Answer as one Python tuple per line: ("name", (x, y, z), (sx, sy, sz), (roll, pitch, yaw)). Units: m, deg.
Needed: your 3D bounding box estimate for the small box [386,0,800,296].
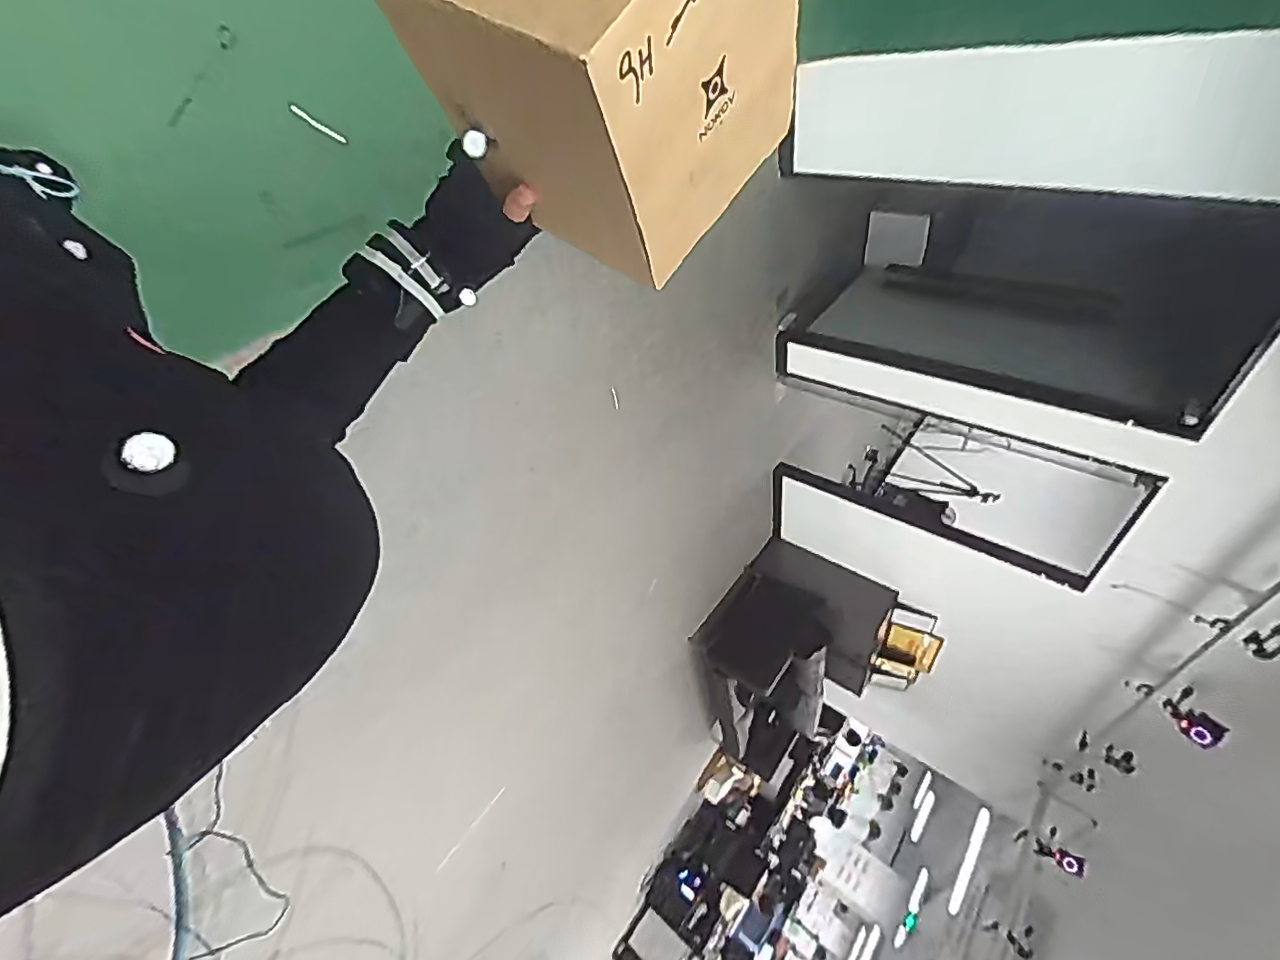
("small box", (-0.017, -0.264, 0.349), (0.168, 0.176, 0.179), (-53, 162, -5))
